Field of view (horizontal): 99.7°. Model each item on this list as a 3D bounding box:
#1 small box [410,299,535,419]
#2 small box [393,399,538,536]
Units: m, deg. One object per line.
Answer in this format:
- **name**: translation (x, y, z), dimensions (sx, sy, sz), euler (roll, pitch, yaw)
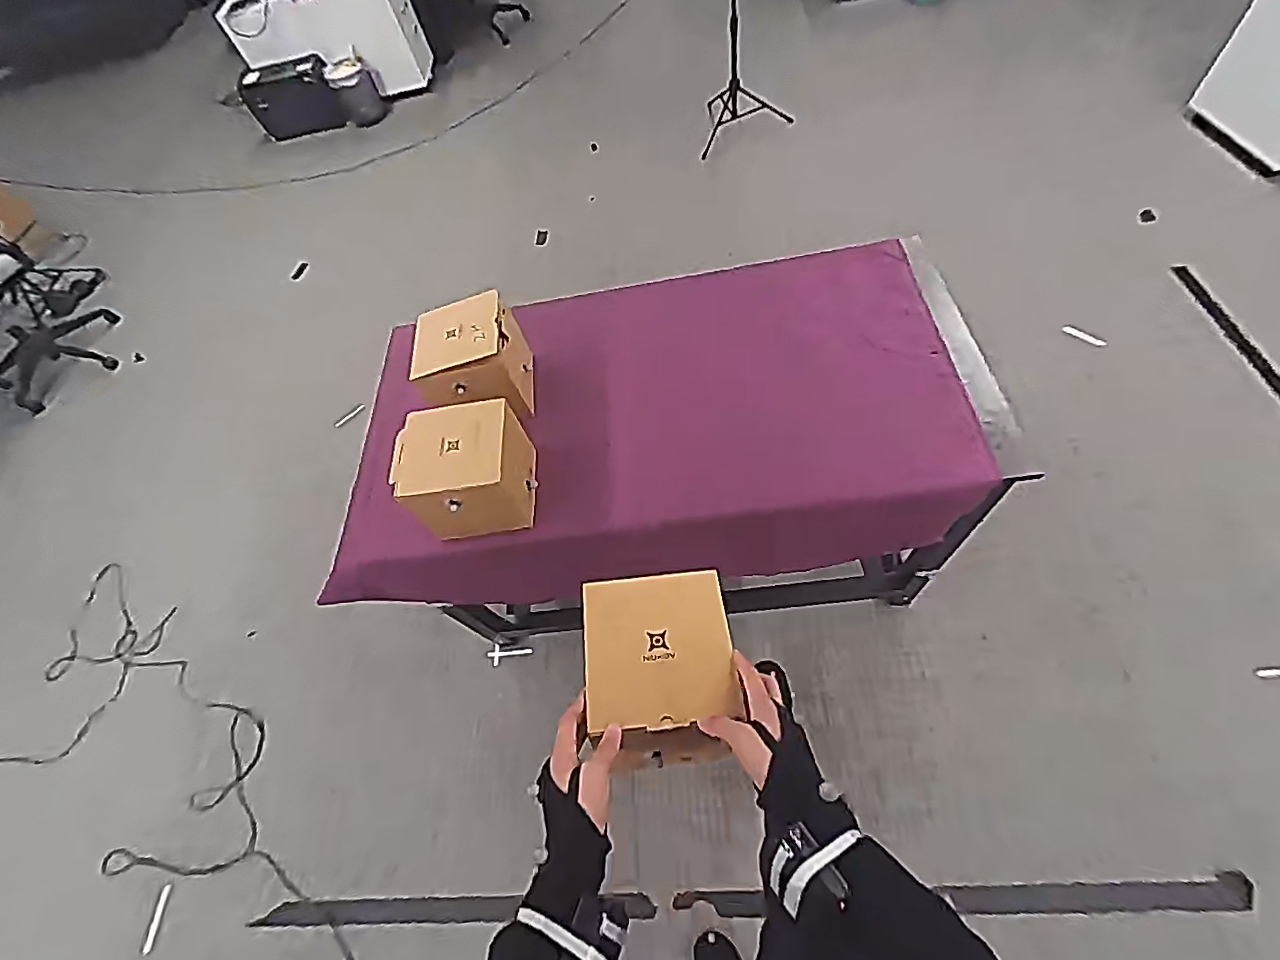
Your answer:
- **small box**: translation (-0.316, -0.220, 1.054), dimensions (0.179, 0.176, 0.168), euler (-9, 60, 4)
- **small box**: translation (-0.288, -0.013, 0.931), dimensions (0.179, 0.176, 0.168), euler (-8, 60, 5)
